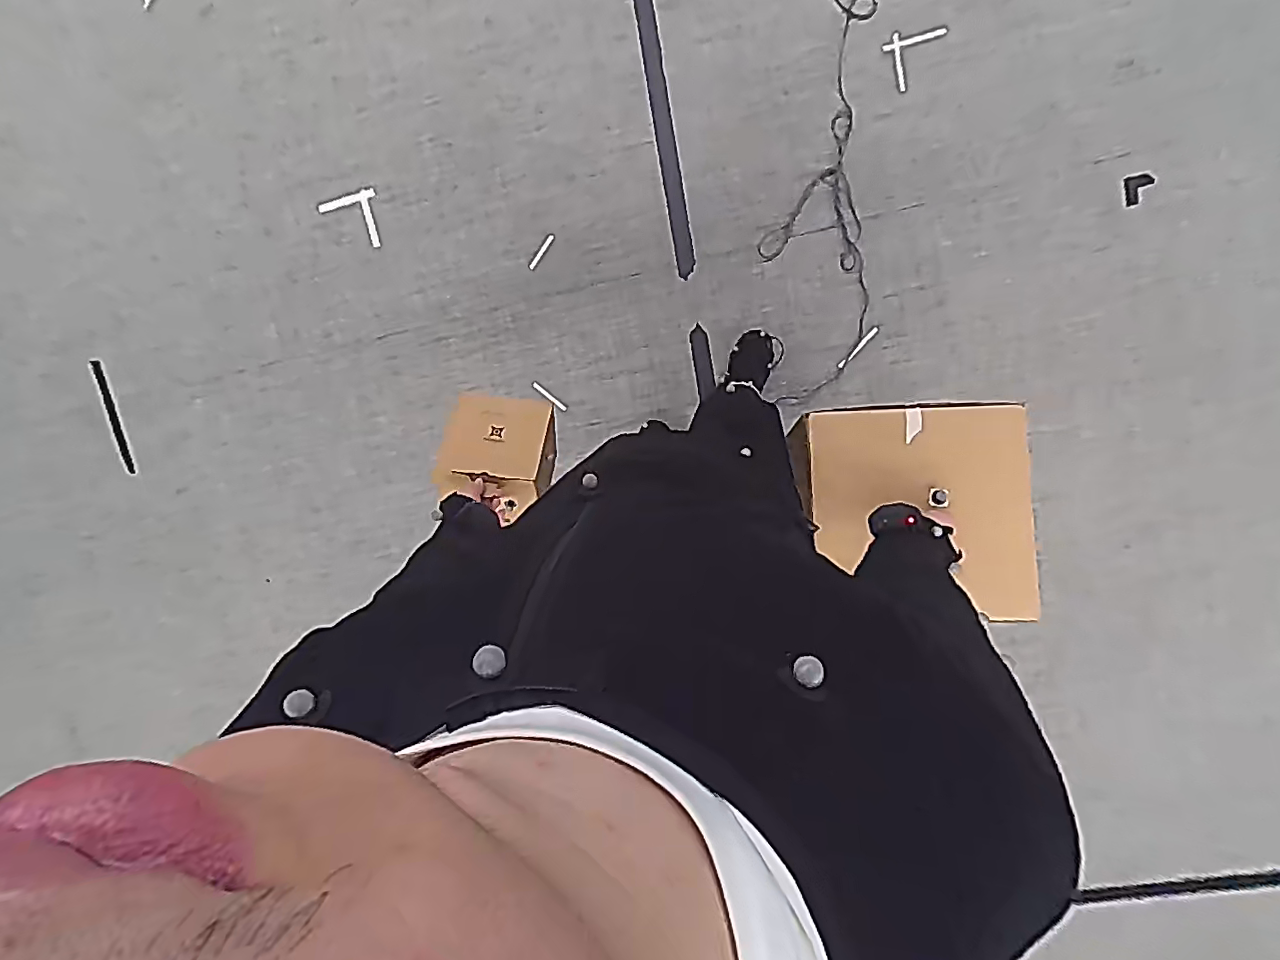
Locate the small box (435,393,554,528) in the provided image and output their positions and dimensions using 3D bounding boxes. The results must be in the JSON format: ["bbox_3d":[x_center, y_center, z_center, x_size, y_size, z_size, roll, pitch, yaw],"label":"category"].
[{"bbox_3d":[-0.252,-0.030,0.986,0.168,0.176,0.179,7,55,-3],"label":"small box"}]
